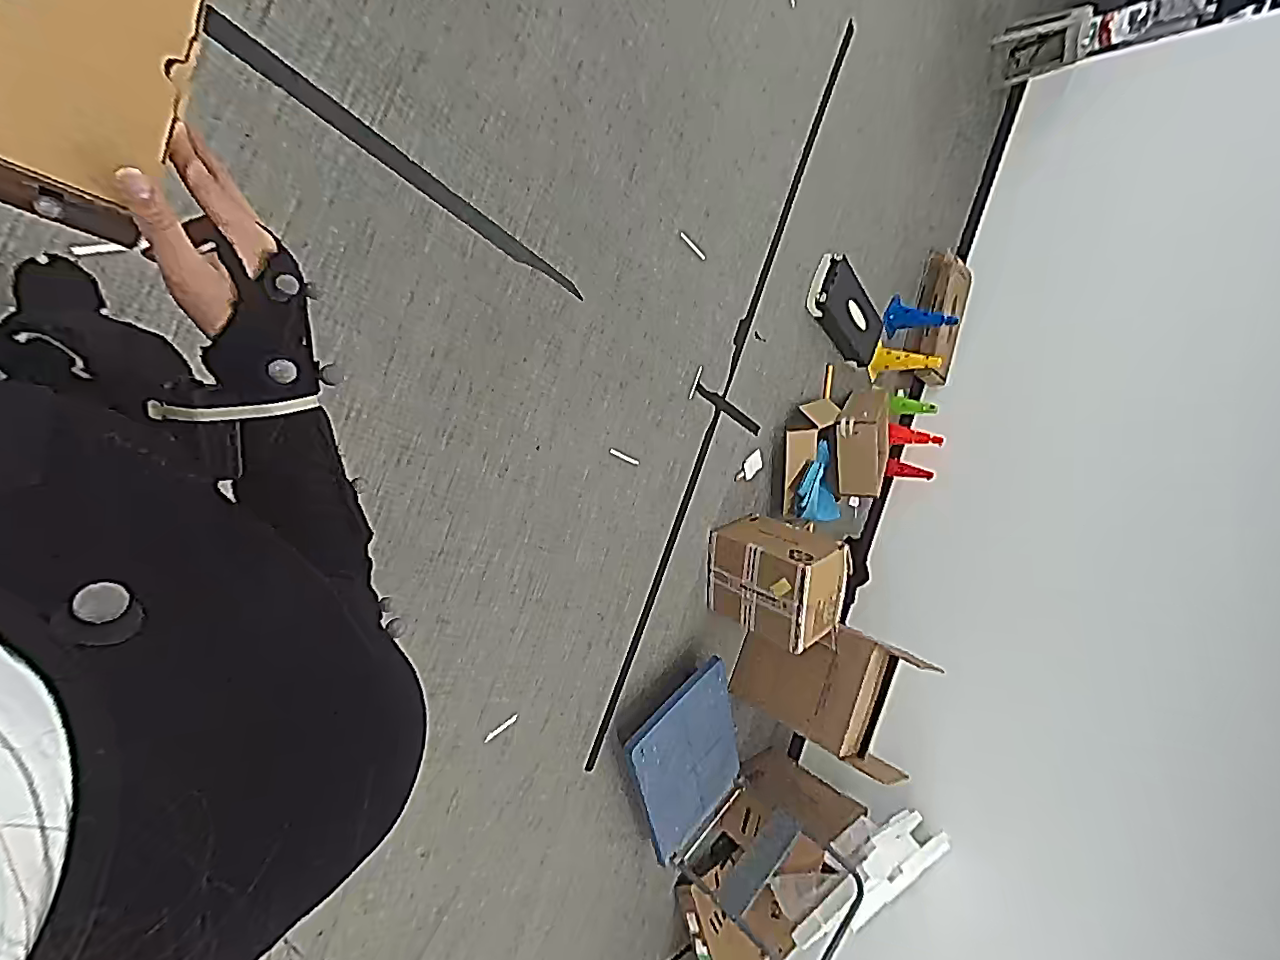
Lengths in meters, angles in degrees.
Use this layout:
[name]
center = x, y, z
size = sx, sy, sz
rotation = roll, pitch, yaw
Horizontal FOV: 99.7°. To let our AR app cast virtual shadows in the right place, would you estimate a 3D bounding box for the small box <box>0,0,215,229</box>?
[small box]
center = -0.365, -0.260, 0.296
size = 0.179, 0.176, 0.168
rotation = 14, 91, -48
